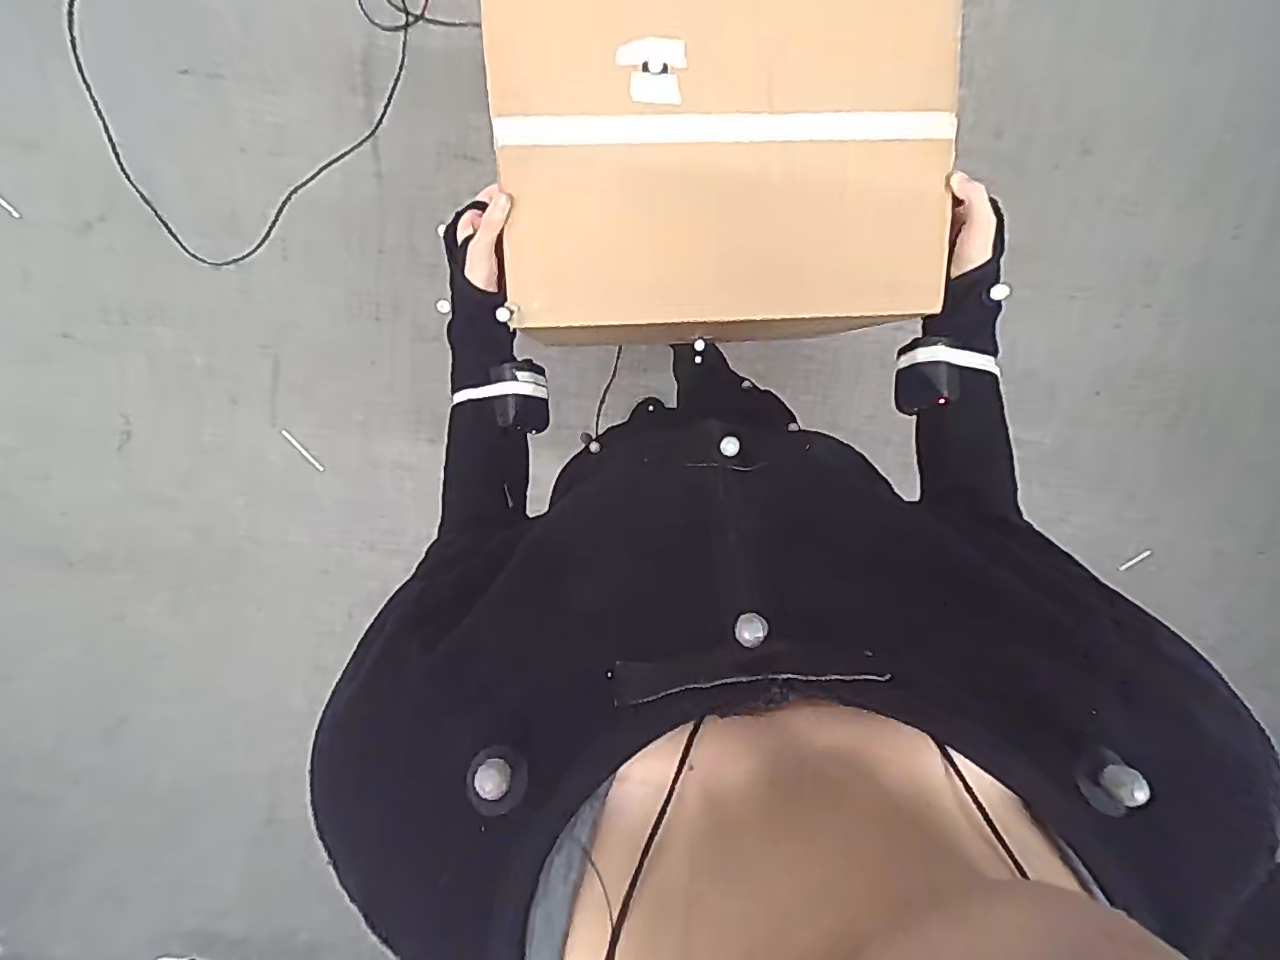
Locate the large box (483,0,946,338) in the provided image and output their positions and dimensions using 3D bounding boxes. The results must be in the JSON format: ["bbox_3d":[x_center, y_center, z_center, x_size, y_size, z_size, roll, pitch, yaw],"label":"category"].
[{"bbox_3d":[0.066,-0.338,0.625,0.408,0.320,0.320,-3,101,-3],"label":"large box"}]
